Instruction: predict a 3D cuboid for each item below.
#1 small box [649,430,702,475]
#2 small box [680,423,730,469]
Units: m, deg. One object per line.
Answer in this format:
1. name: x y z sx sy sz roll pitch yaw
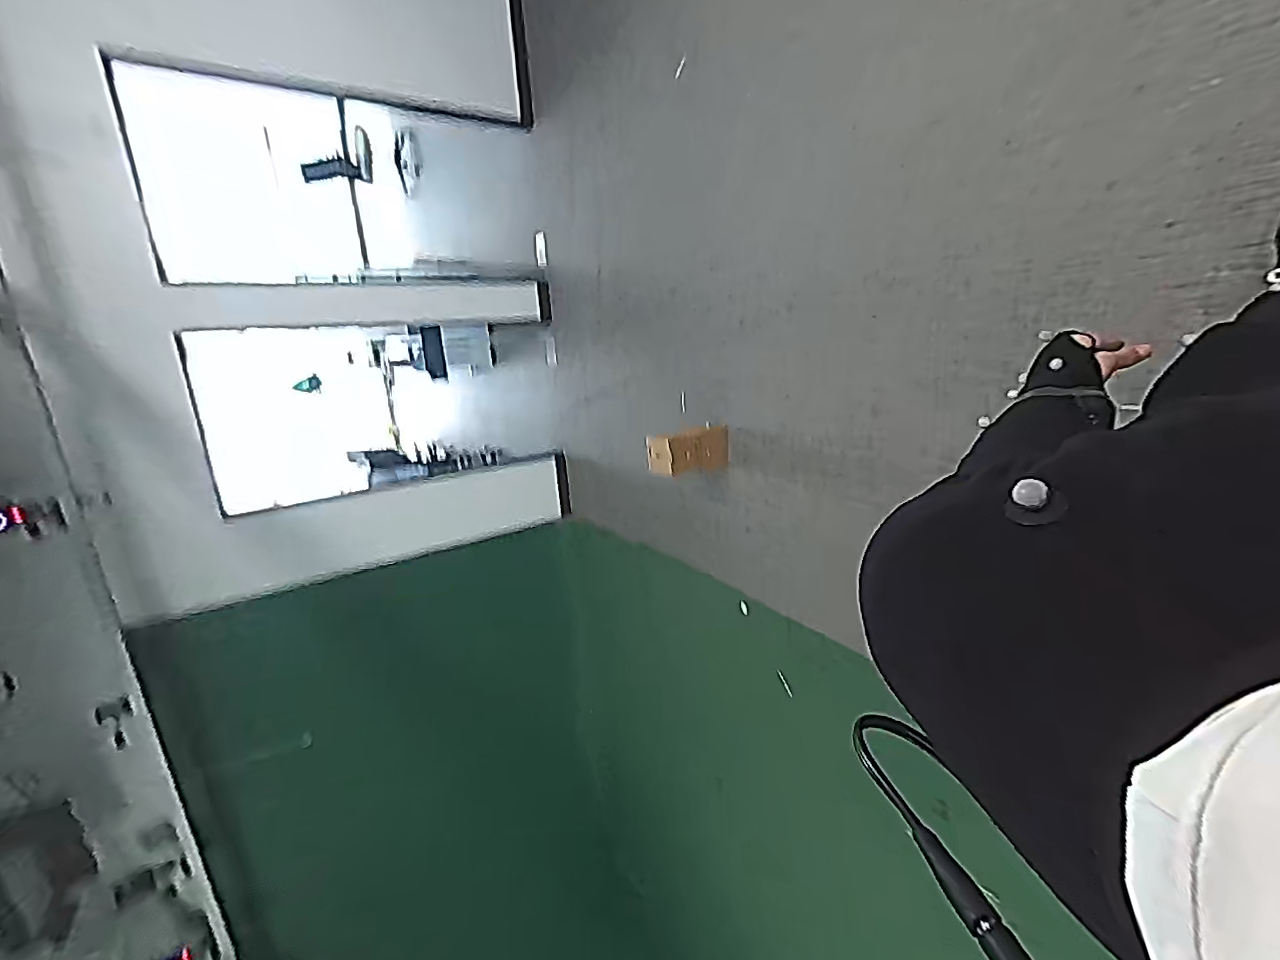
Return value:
1. small box: 0.164 -0.127 2.410 0.179 0.176 0.168 13 111 55
2. small box: 0.301 -0.161 2.494 0.168 0.176 0.179 18 115 54
